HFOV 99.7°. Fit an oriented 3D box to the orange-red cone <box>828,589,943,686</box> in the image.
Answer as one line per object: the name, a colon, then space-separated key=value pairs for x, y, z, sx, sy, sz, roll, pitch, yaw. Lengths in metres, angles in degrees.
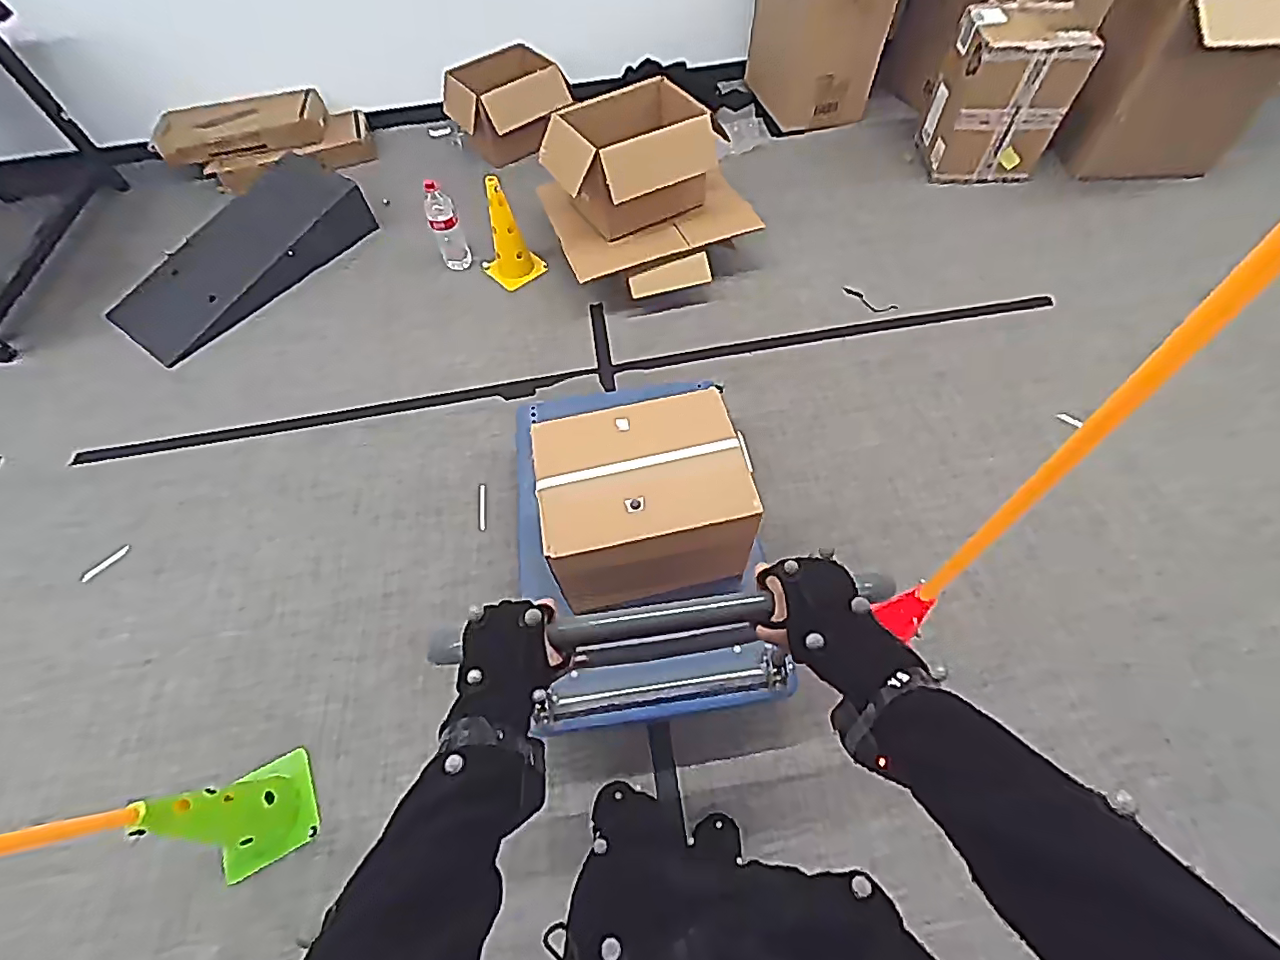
orange-red cone: x=0.563 y=0.311 z=1.171 sx=0.199 sy=0.360 sz=0.198 roll=-3 pitch=59 yaw=1
